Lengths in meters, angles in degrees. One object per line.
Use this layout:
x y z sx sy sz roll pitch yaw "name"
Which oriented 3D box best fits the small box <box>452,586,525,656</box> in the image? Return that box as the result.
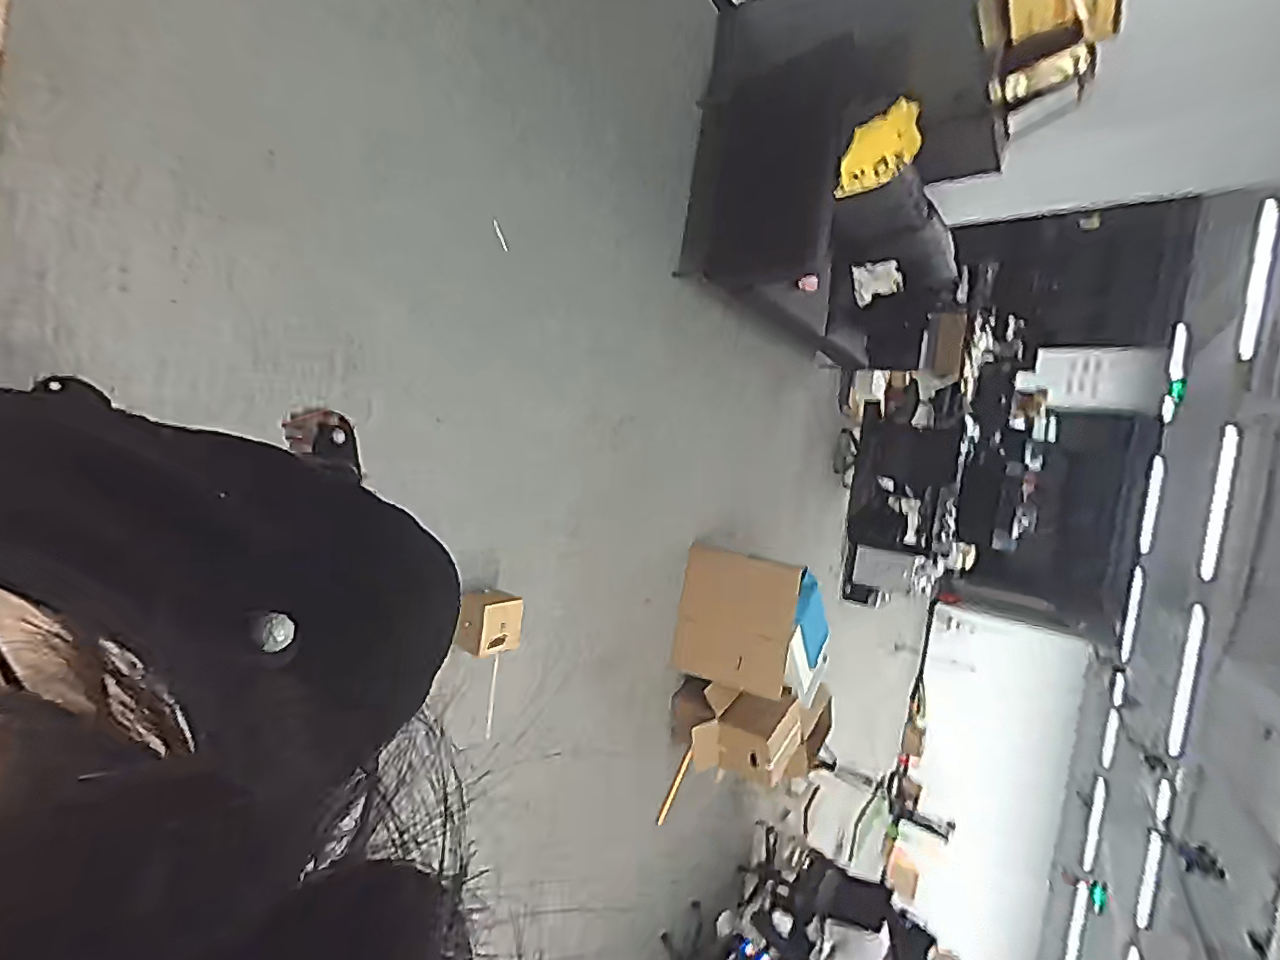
-0.520 0.475 1.845 0.168 0.176 0.179 4 93 -54 "small box"
